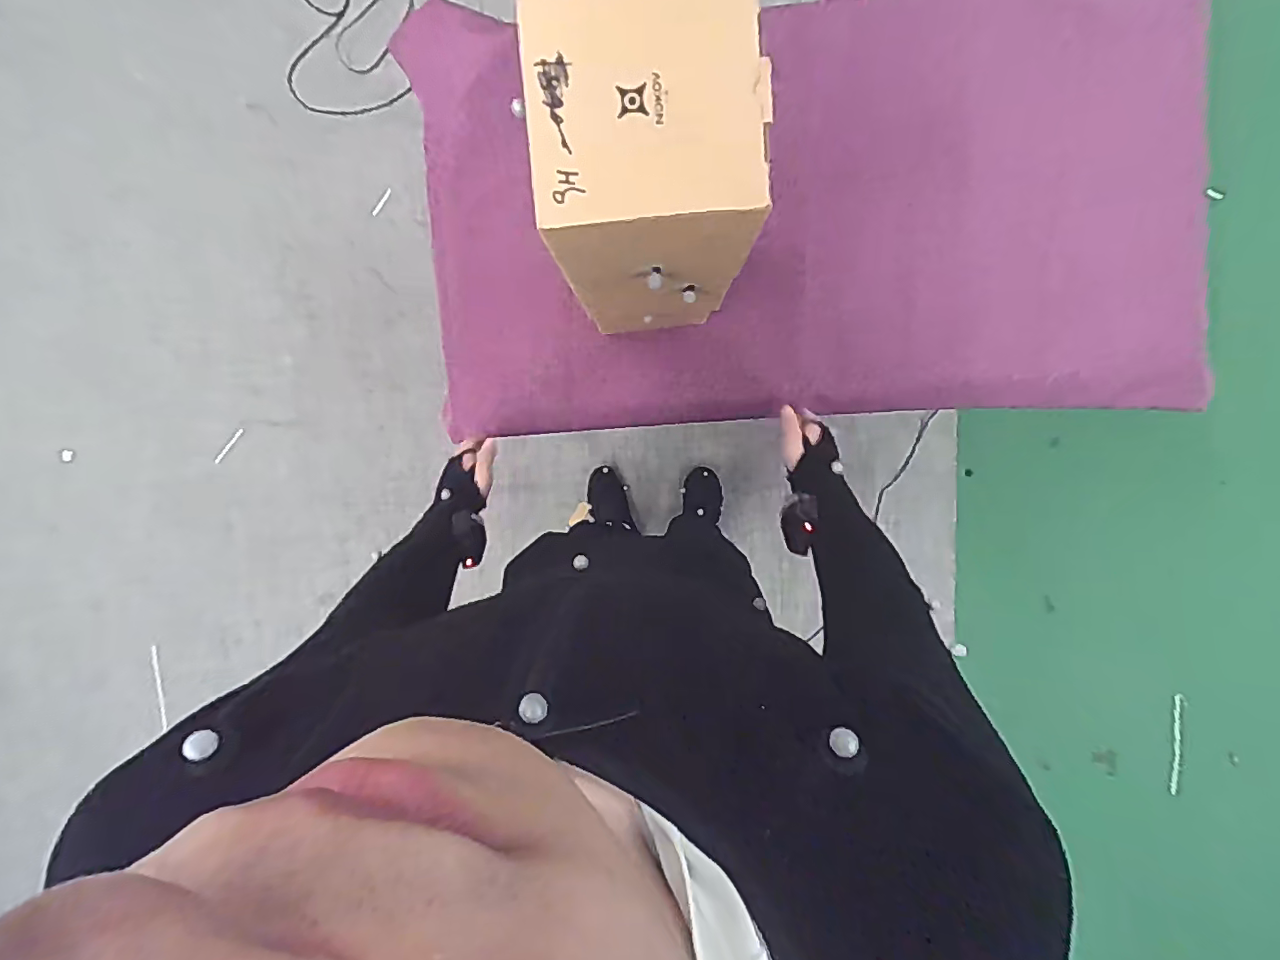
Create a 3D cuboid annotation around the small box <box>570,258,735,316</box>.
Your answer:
[{"bbox_3d":[0.012,-0.298,0.640,0.179,0.176,0.168,-3,94,3],"label":"small box"}]

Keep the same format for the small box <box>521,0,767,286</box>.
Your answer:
[{"bbox_3d":[0.006,-0.281,0.477,0.179,0.176,0.168,-4,94,2],"label":"small box"}]

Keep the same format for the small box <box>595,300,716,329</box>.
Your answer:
[{"bbox_3d":[0.016,-0.327,0.803,0.179,0.176,0.168,-5,95,4],"label":"small box"}]
